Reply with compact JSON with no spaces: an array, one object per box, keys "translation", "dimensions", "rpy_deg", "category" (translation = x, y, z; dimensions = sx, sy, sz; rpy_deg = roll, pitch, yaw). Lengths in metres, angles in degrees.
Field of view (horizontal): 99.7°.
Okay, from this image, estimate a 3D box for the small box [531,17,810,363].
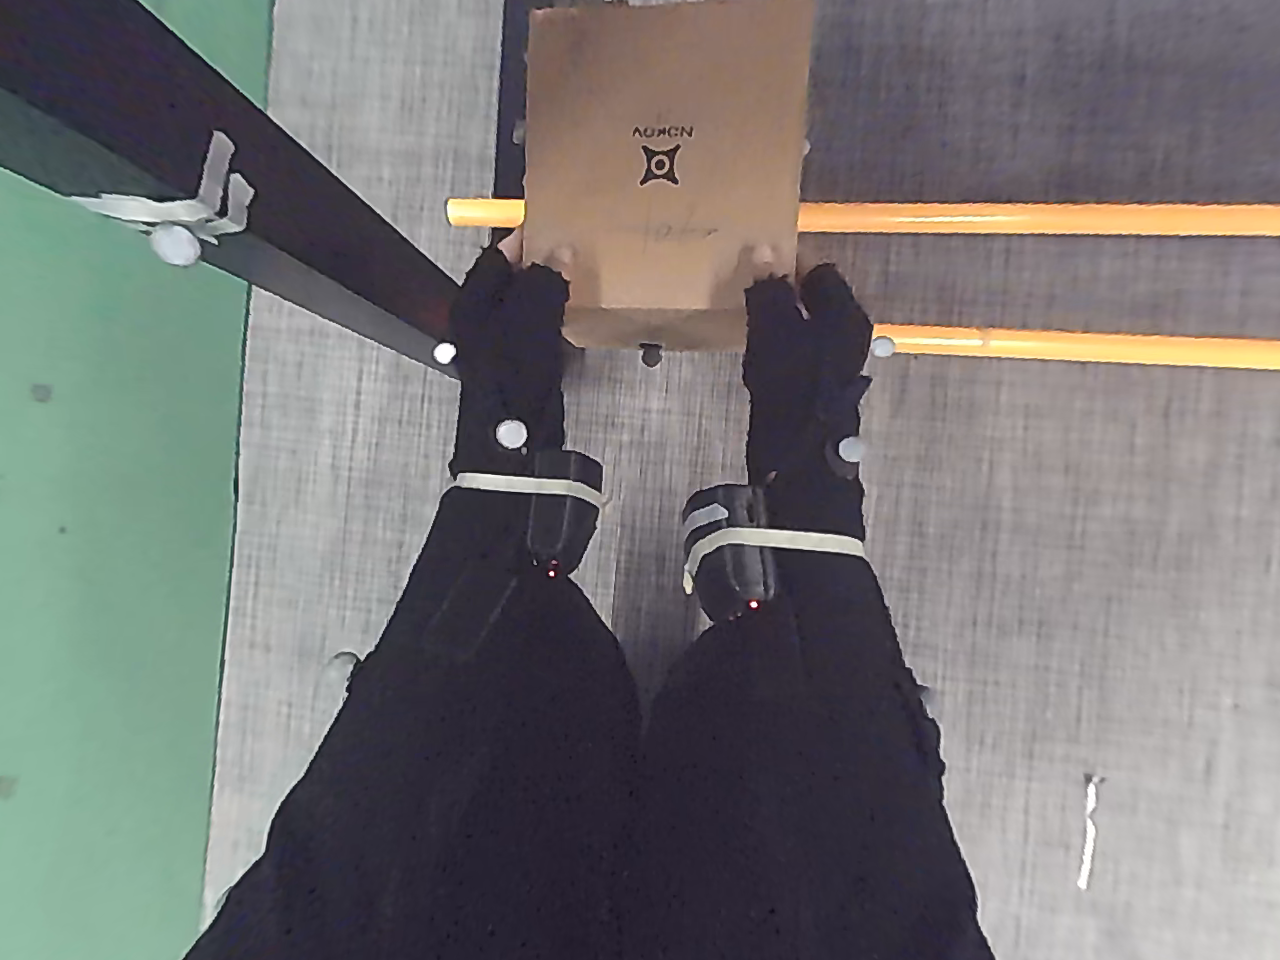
[{"translation":[0.025,-0.189,0.405],"dimensions":[0.168,0.176,0.179],"rpy_deg":[2,96,8],"category":"small box"}]
